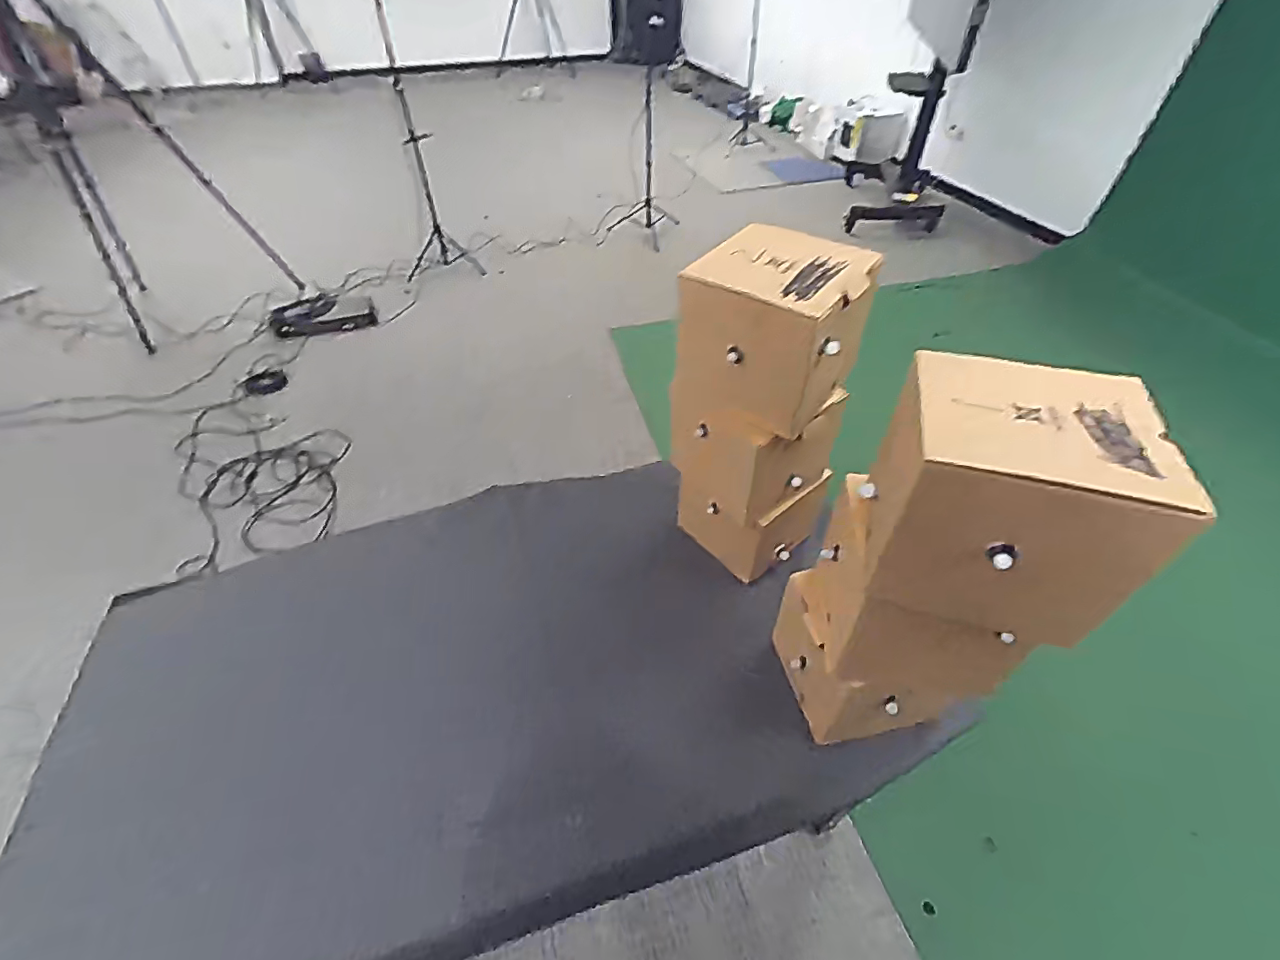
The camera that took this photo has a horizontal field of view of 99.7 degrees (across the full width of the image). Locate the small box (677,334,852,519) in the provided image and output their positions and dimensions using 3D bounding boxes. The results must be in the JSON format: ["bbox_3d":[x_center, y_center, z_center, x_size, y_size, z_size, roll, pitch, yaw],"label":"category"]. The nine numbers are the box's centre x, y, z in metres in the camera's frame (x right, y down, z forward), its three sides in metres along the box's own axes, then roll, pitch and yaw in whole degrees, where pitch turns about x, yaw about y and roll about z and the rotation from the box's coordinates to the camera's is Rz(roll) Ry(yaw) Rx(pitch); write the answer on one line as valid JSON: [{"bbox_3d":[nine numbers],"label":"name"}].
[{"bbox_3d":[0.166,-0.077,0.782,0.168,0.176,0.179,-30,53,-21],"label":"small box"}]

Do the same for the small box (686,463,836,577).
[{"bbox_3d":[0.191,0.029,0.908,0.168,0.176,0.179,-33,56,-24],"label":"small box"}]

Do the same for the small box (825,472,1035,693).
[{"bbox_3d":[0.309,0.113,0.597,0.179,0.176,0.168,6,44,7],"label":"small box"}]

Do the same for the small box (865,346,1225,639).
[{"bbox_3d":[0.311,0.011,0.465,0.179,0.176,0.168,13,45,15],"label":"small box"}]

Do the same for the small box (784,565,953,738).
[{"bbox_3d":[0.305,0.220,0.721,0.179,0.176,0.168,-9,44,-7],"label":"small box"}]
